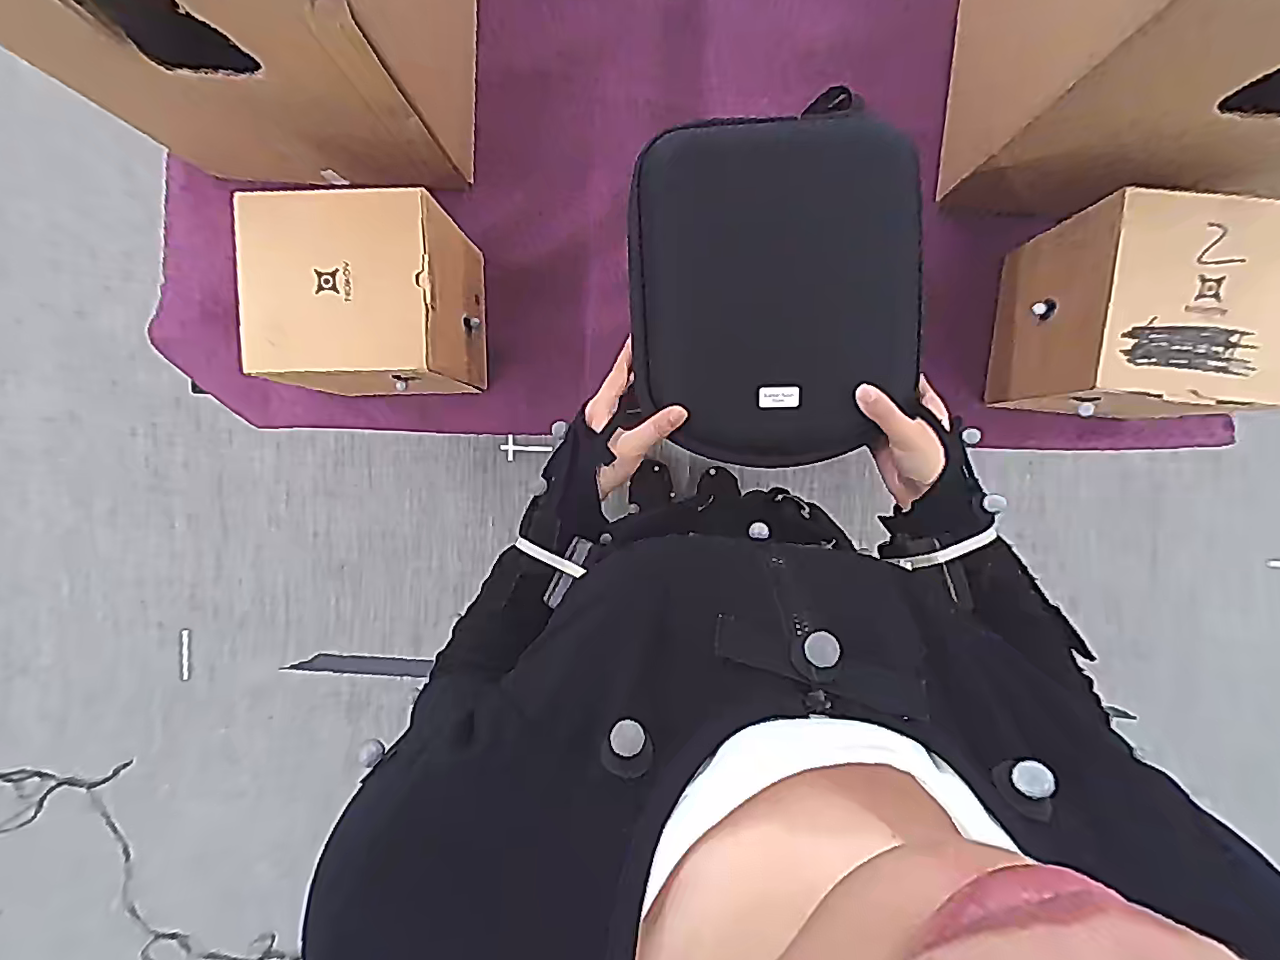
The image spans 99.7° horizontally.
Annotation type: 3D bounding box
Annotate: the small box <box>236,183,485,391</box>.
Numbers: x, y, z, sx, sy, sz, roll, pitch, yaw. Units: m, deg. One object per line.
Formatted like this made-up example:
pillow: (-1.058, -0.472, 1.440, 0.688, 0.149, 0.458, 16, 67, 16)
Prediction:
small box: (-0.277, -0.187, 0.572, 0.179, 0.176, 0.168, -2, 93, 1)

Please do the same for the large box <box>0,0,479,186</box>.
large box: (-0.339, -0.538, 0.480, 0.320, 0.320, 0.408, 2, 96, 1)
